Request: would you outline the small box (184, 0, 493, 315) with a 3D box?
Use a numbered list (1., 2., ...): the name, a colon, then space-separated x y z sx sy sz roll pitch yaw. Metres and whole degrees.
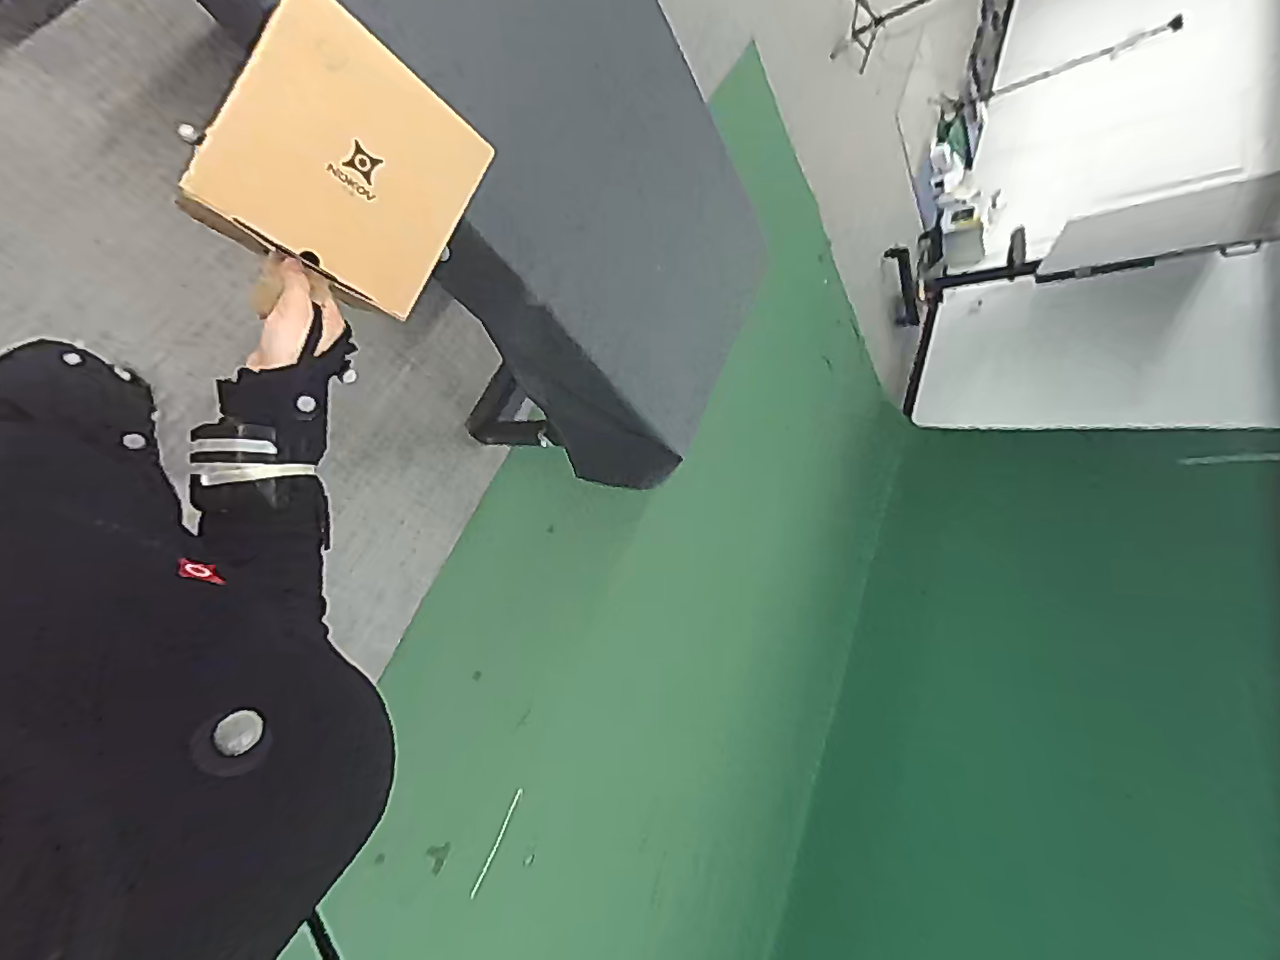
1. small box: -0.270 -0.274 0.480 0.168 0.176 0.179 28 89 -46
